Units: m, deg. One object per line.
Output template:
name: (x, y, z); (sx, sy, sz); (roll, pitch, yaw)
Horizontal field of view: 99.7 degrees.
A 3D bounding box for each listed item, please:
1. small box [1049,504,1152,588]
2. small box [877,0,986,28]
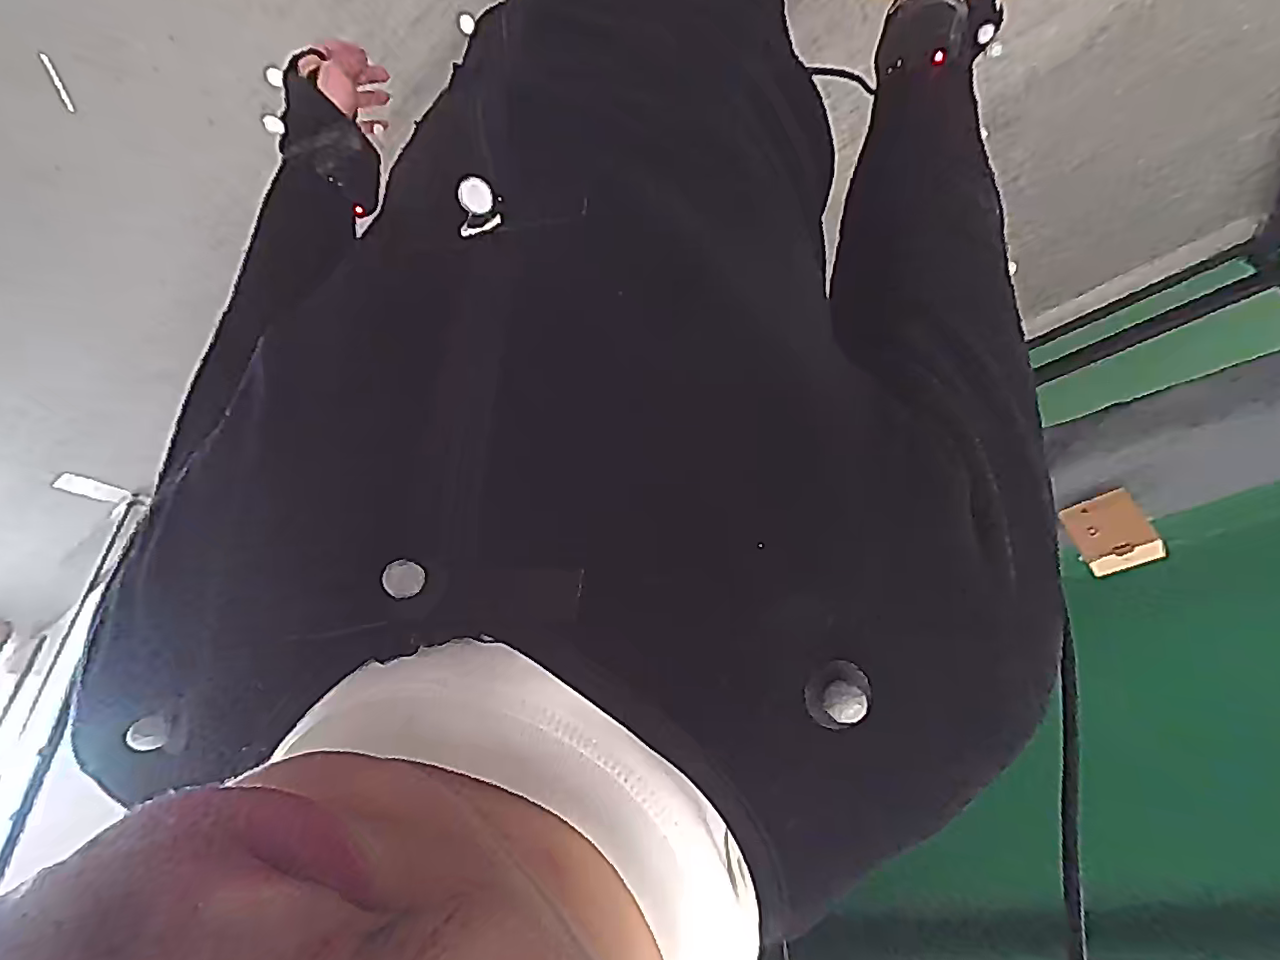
small box: (1.312, 0.187, 1.547); (0.168, 0.176, 0.179); (-32, 140, 31)
small box: (0.295, -0.570, 0.504); (0.168, 0.176, 0.179); (13, 115, -10)
